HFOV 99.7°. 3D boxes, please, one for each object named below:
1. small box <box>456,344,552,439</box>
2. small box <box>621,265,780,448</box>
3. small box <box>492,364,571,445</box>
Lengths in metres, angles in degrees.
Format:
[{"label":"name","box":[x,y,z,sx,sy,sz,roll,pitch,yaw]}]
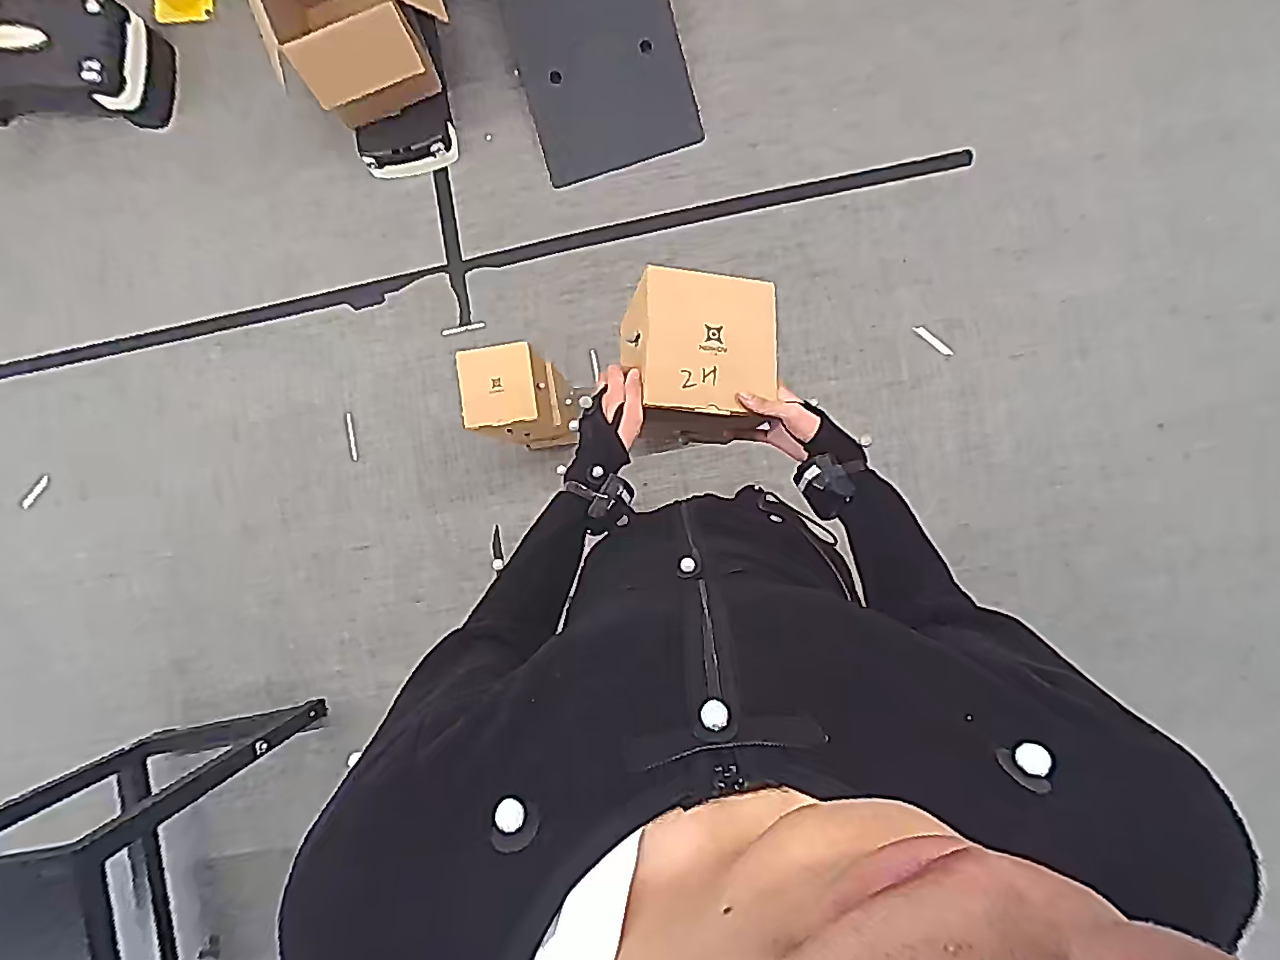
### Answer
[{"label":"small box","box":[-0.310,-0.199,1.257,0.168,0.176,0.179,-8,89,2]},{"label":"small box","box":[0.070,-0.150,0.712,0.168,0.176,0.179,4,80,-12]},{"label":"small box","box":[-0.290,-0.191,1.419,0.179,0.176,0.168,-10,88,2]}]
